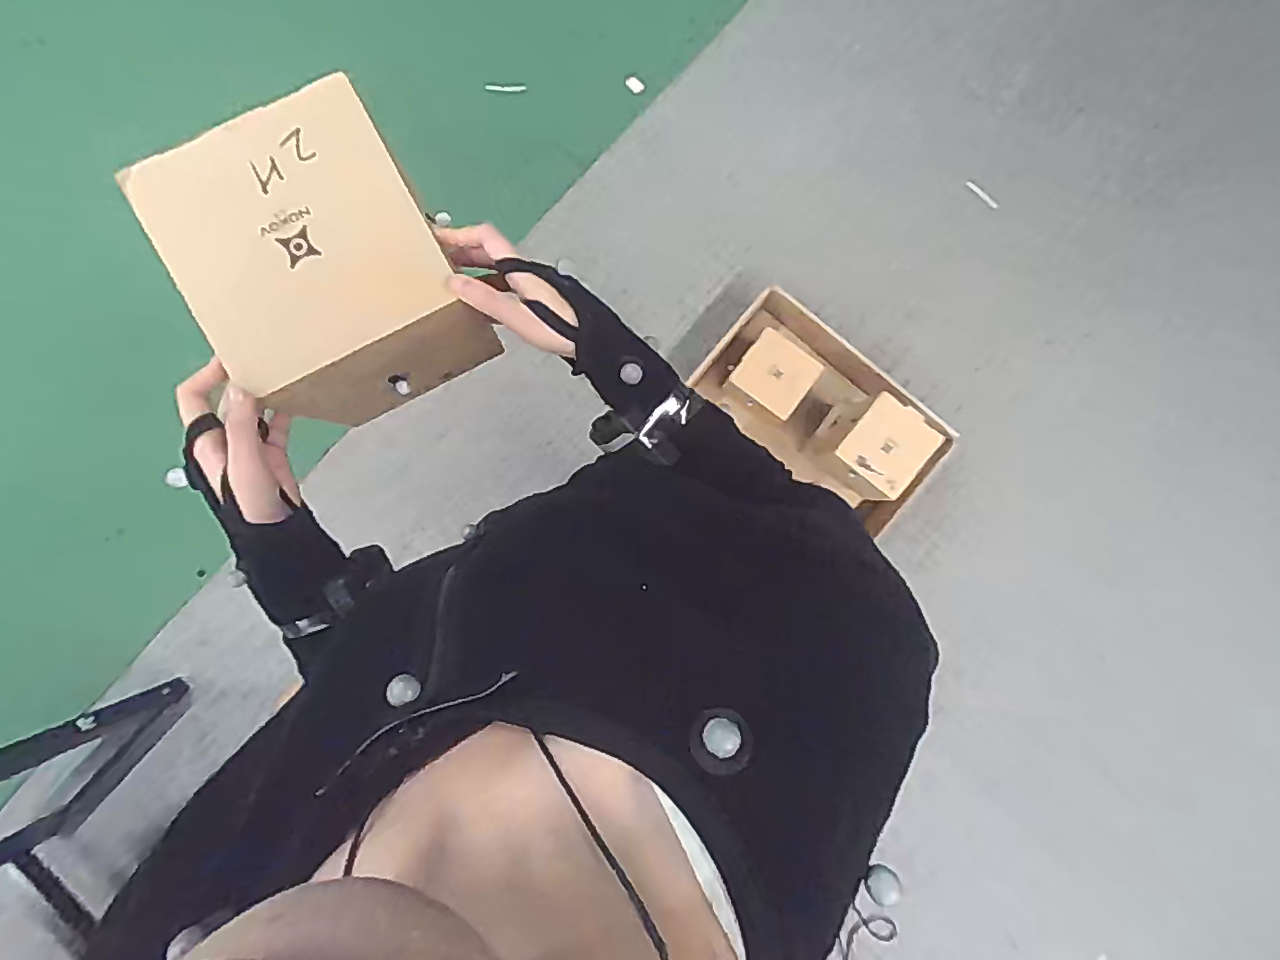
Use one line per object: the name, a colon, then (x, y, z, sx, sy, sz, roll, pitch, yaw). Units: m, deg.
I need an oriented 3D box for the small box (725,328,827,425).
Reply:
small box: (0.341, -0.257, 1.396, 0.179, 0.176, 0.168, 37, 91, 1)

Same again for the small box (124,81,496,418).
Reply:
small box: (-0.241, -0.163, 0.449, 0.168, 0.176, 0.179, -29, 92, -4)

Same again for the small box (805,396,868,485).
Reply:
small box: (0.552, -0.088, 1.388, 0.179, 0.176, 0.168, 35, 90, 2)

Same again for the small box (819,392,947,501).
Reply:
small box: (0.537, -0.069, 1.224, 0.168, 0.176, 0.179, 39, 90, 3)
